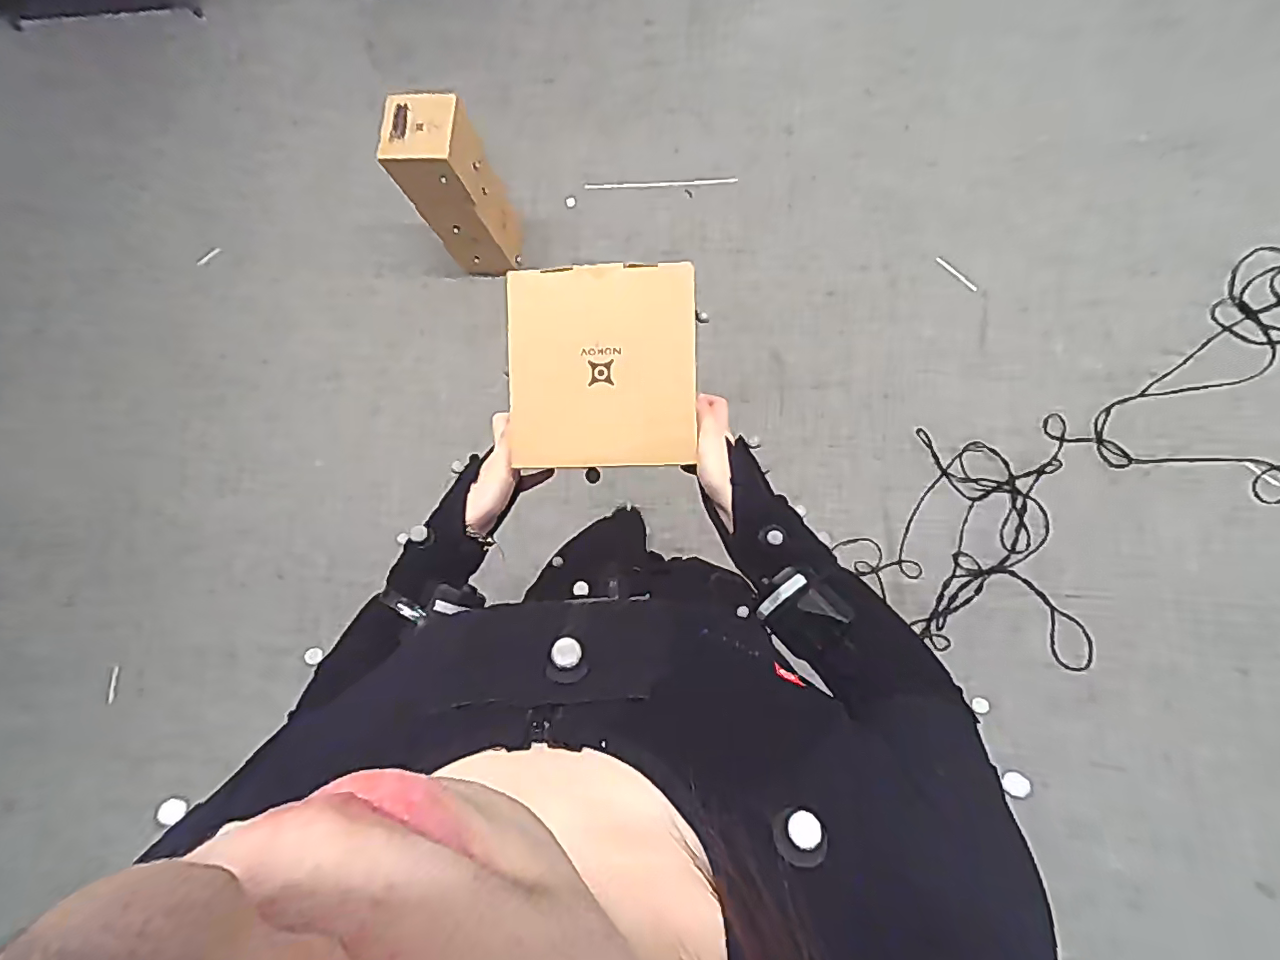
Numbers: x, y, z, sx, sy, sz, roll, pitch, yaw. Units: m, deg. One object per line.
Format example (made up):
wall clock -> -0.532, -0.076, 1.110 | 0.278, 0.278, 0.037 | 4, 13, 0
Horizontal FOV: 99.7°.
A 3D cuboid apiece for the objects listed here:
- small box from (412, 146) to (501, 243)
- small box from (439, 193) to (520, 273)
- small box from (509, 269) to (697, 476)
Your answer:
small box -> -0.490, -0.766, 1.466 | 0.168, 0.176, 0.179 | 4, 82, 7
small box -> -0.476, -0.741, 1.628 | 0.179, 0.176, 0.168 | 3, 82, 8
small box -> -0.026, -0.095, 0.550 | 0.168, 0.176, 0.179 | -1, 90, 4
